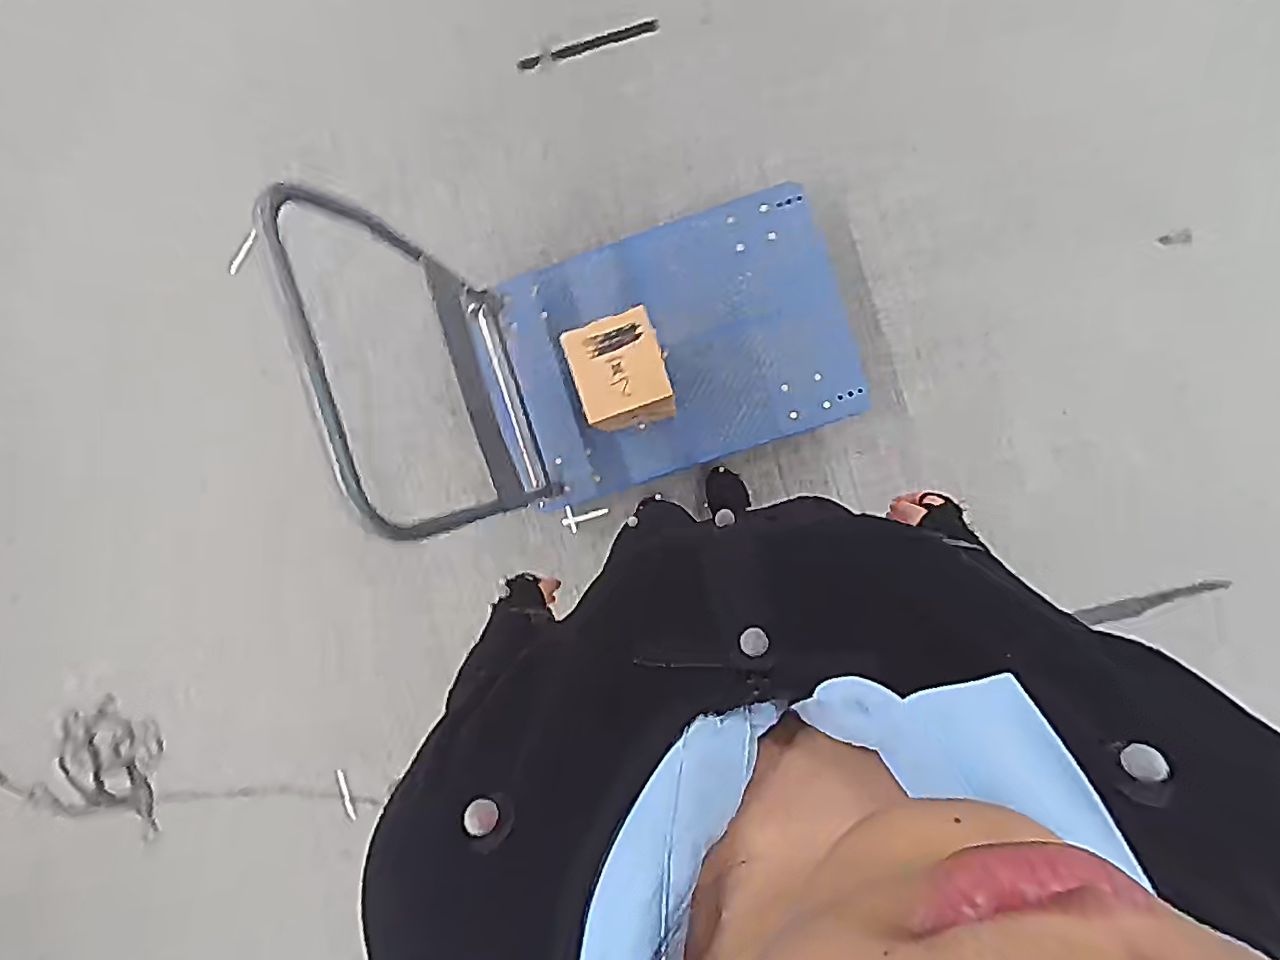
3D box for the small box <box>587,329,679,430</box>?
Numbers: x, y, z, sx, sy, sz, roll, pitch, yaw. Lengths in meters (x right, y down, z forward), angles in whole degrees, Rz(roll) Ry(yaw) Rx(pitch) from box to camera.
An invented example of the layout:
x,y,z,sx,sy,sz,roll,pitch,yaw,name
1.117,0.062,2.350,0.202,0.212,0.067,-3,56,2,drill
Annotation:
x,y,z,sx,sy,sz,roll,pitch,yaw,name
-0.012,-0.219,1.227,0.168,0.176,0.179,-14,91,5,small box
